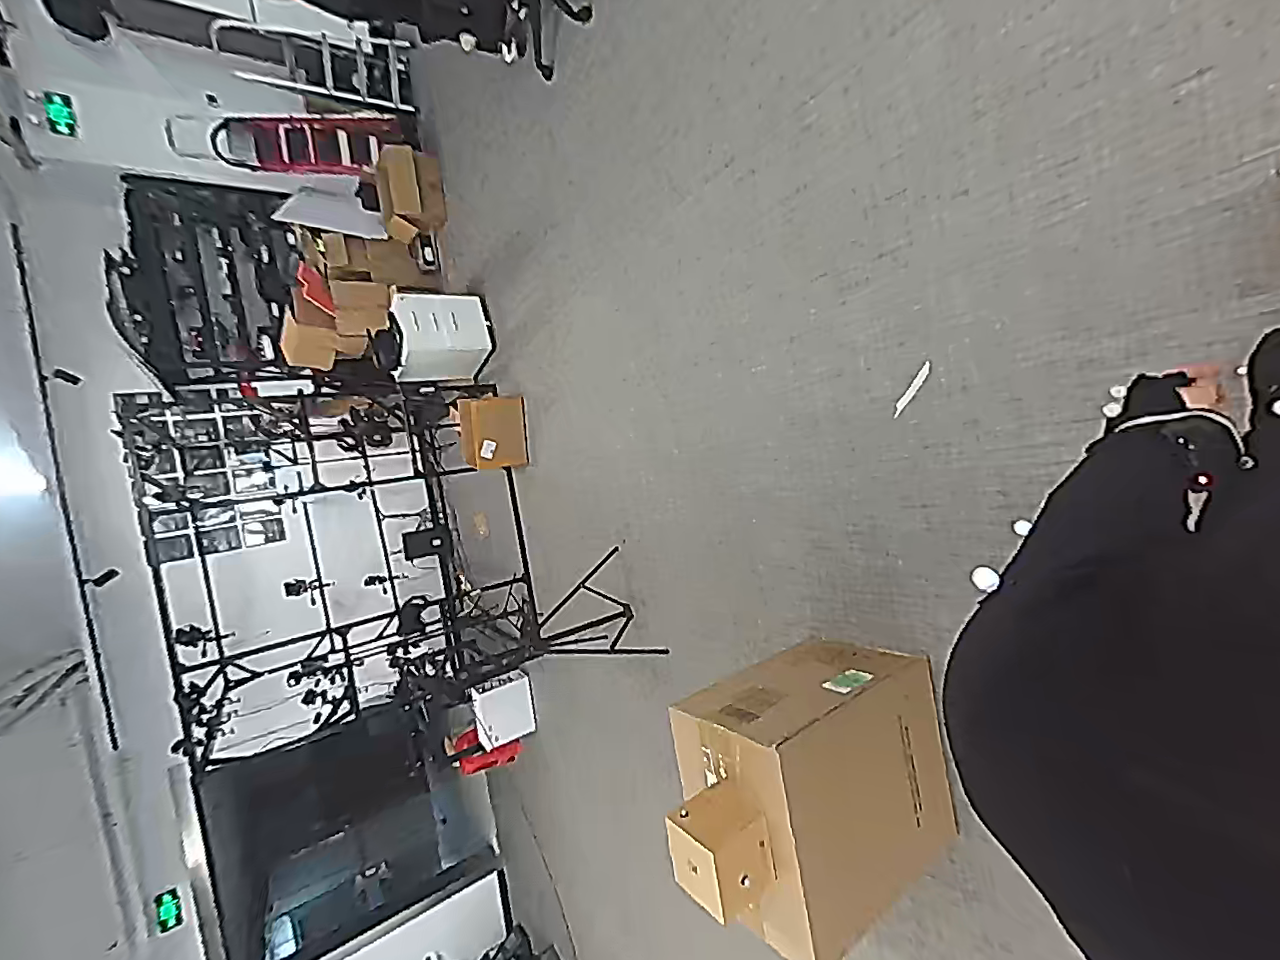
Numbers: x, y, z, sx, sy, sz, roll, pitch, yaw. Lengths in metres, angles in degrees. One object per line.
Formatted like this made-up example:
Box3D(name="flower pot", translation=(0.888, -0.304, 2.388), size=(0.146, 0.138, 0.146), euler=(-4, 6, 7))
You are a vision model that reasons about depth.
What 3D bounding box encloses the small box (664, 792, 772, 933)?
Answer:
Box3D(name="small box", translation=(0.183, 0.850, 1.227), size=(0.179, 0.176, 0.168), euler=(-6, 94, 57))
